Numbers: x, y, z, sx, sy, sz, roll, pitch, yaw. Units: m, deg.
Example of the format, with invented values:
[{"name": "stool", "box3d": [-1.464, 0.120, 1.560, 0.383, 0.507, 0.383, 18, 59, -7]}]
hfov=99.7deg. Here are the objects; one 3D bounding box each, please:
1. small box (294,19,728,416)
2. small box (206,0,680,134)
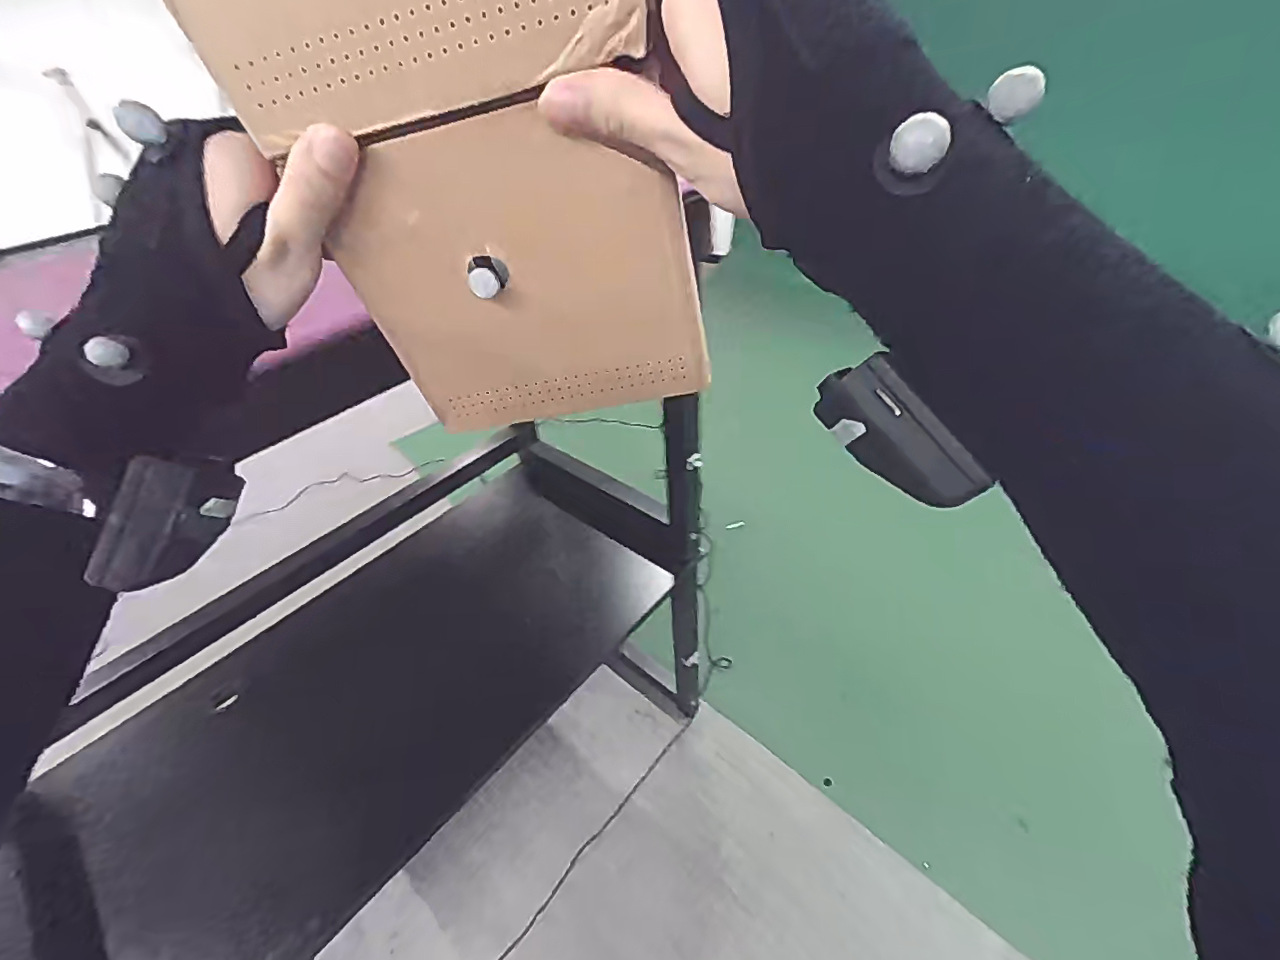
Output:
[{"name": "small box", "box3d": [-0.050, -0.159, 0.333, 0.179, 0.176, 0.168, -9, 47, 11]}, {"name": "small box", "box3d": [-0.085, -0.264, 0.212, 0.179, 0.176, 0.168, -6, 47, 13]}]
